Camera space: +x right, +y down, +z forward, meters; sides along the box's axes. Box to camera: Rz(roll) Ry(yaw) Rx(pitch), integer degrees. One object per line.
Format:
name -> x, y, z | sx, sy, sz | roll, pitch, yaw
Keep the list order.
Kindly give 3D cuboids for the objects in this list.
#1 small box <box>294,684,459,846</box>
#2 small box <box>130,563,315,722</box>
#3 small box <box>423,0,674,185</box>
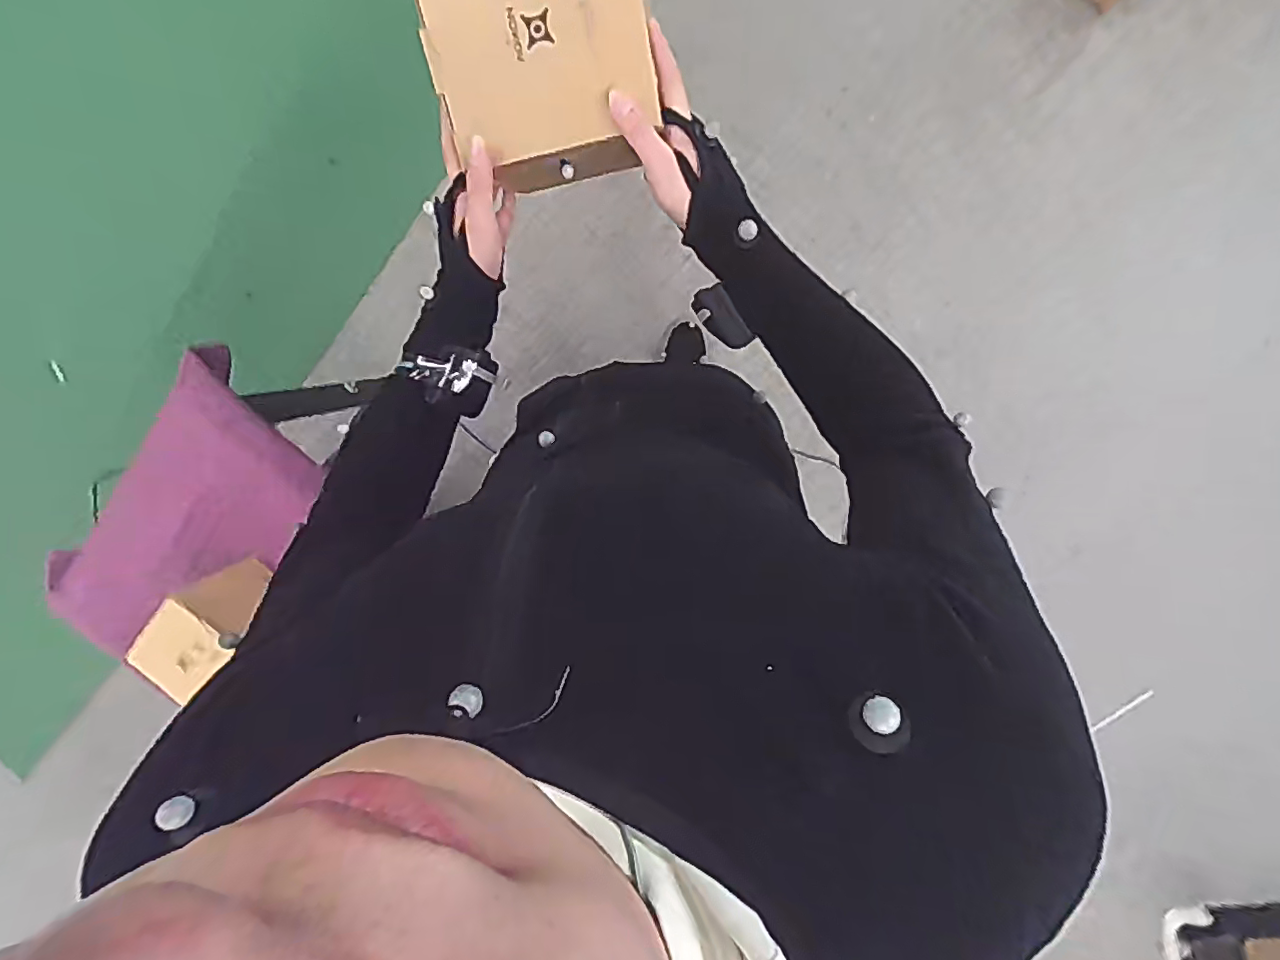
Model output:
small box -> -0.475, 0.509, 0.998 | 0.179, 0.176, 0.168 | 38, 106, -3
small box -> -0.737, 0.285, 0.974 | 0.168, 0.176, 0.179 | 44, 105, -5
small box -> -0.069, -0.381, 0.490 | 0.179, 0.176, 0.168 | -7, 112, 9
